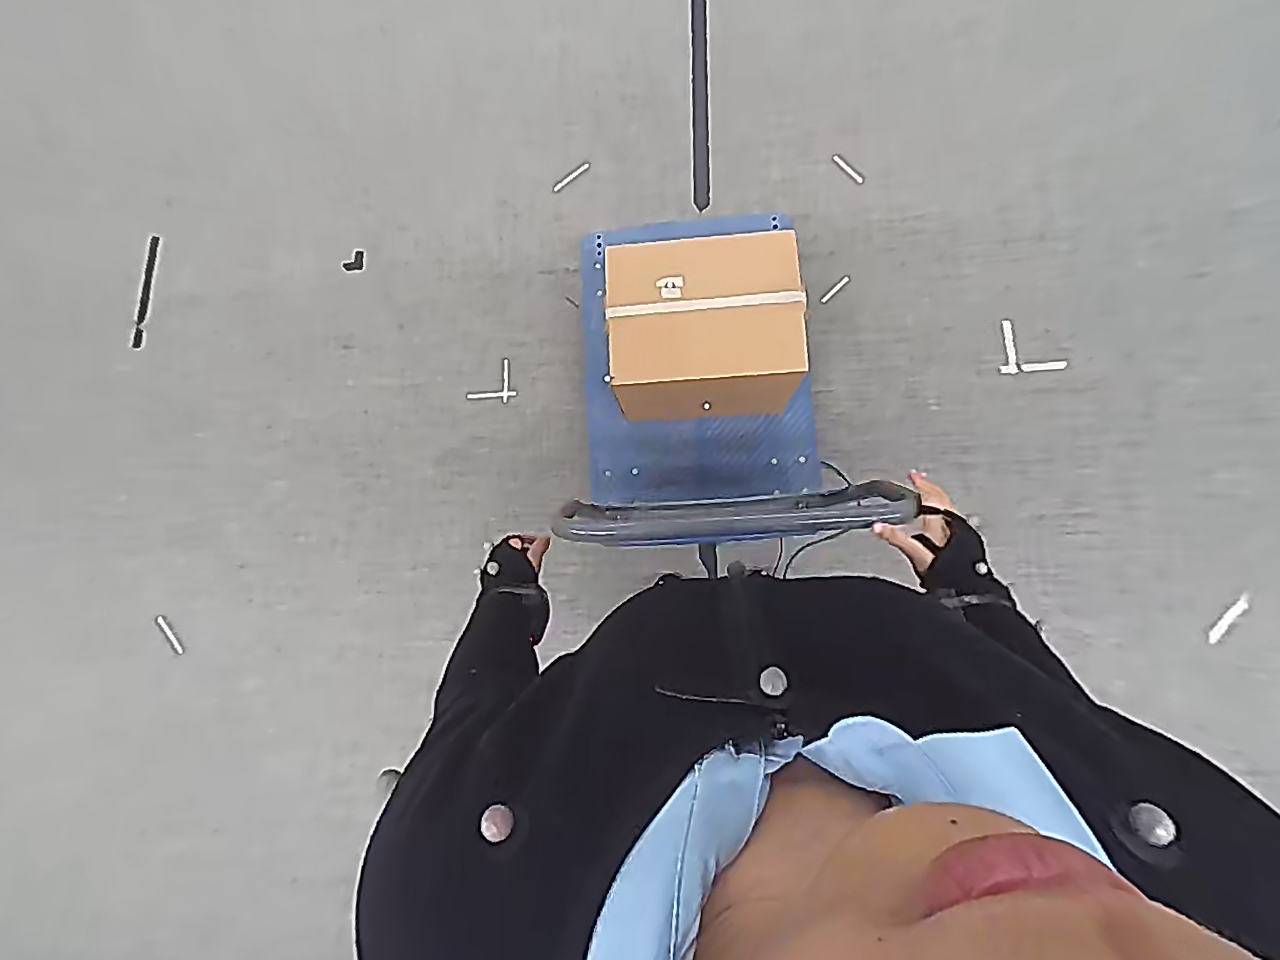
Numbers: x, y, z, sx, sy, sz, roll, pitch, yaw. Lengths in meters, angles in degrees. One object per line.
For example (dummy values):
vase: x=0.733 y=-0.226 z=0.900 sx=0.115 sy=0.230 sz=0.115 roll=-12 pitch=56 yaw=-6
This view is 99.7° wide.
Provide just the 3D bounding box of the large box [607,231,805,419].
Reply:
large box: x=0.150 y=-0.343 z=1.288 sx=0.408 sy=0.320 sz=0.320 roll=-4 pitch=80 yaw=6
